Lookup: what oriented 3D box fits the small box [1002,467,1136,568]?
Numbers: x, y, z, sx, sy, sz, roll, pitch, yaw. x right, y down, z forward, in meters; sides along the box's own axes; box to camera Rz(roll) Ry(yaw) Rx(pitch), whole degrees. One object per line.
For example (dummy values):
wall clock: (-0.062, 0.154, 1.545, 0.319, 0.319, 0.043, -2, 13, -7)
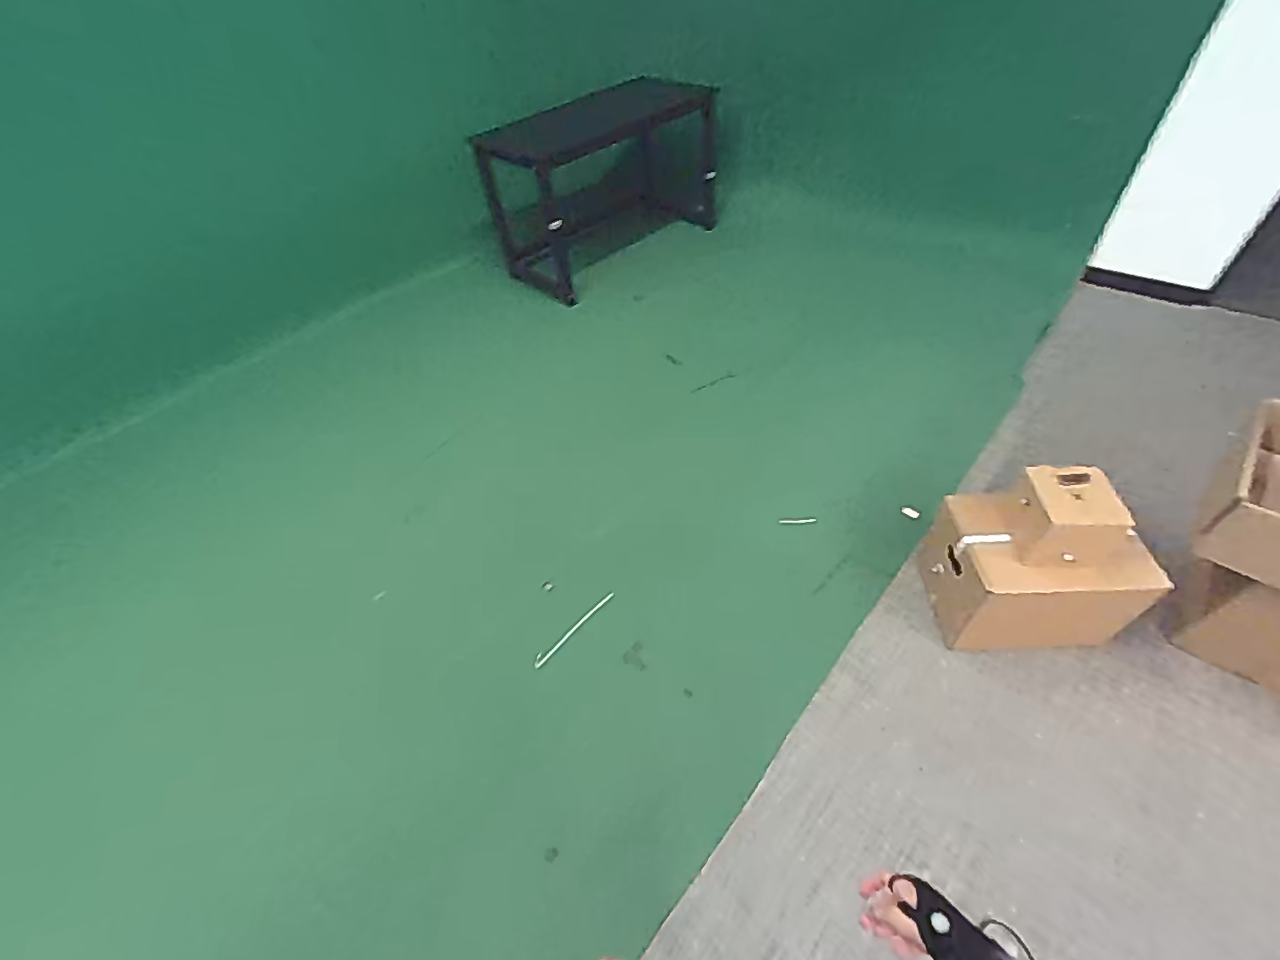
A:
small box: (1.003, 0.088, 1.287, 0.168, 0.176, 0.179, -1, 48, 8)
